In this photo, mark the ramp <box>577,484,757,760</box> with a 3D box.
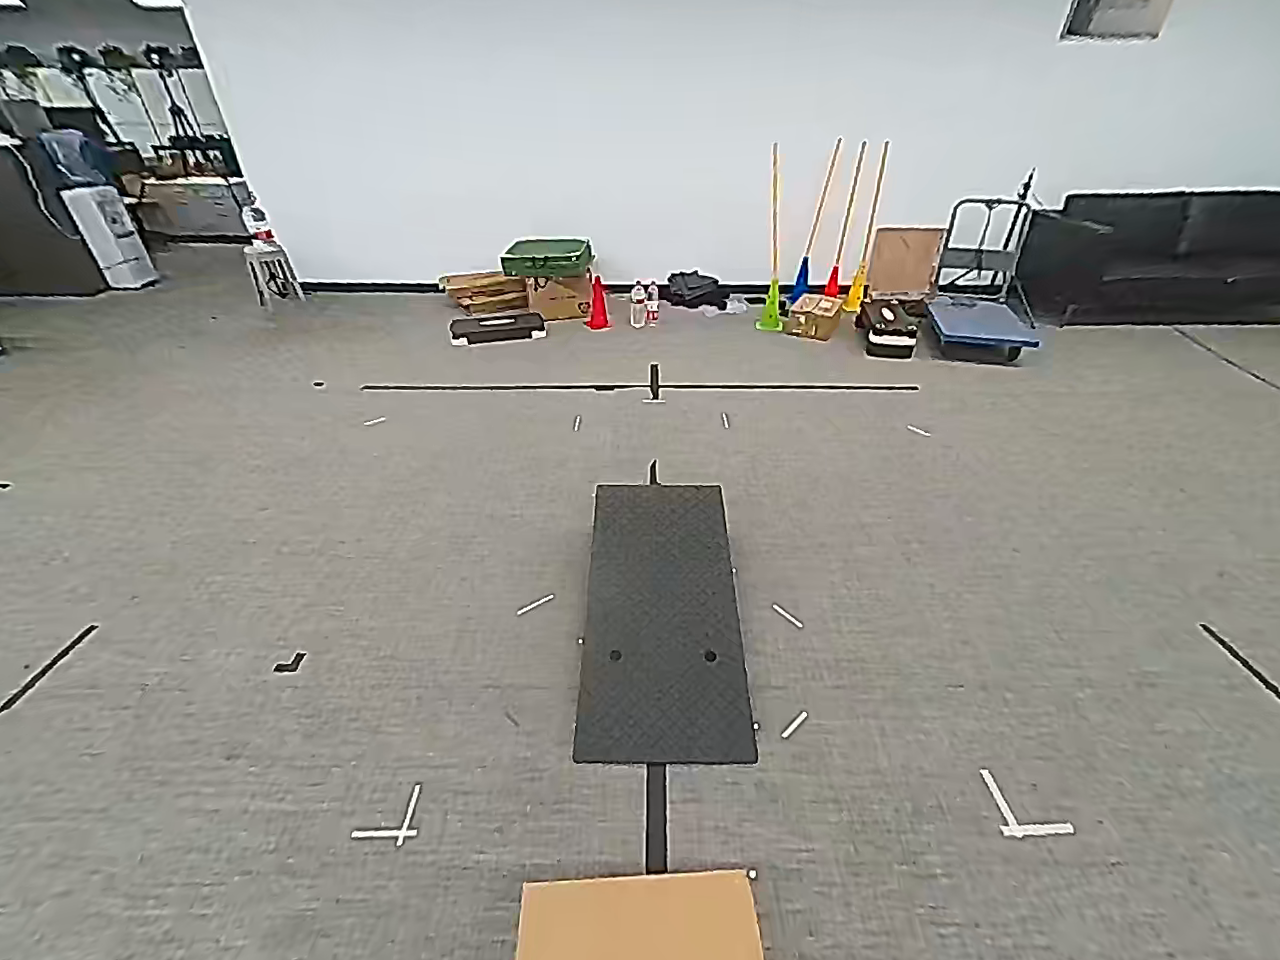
[{"bbox_3d":[0.079,0.383,1.779,0.509,0.206,0.991,0,36,-2],"label":"ramp"}]

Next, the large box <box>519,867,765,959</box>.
[{"bbox_3d":[0.004,0.914,0.923,0.408,0.320,0.320,-1,35,-3],"label":"large box"}]
